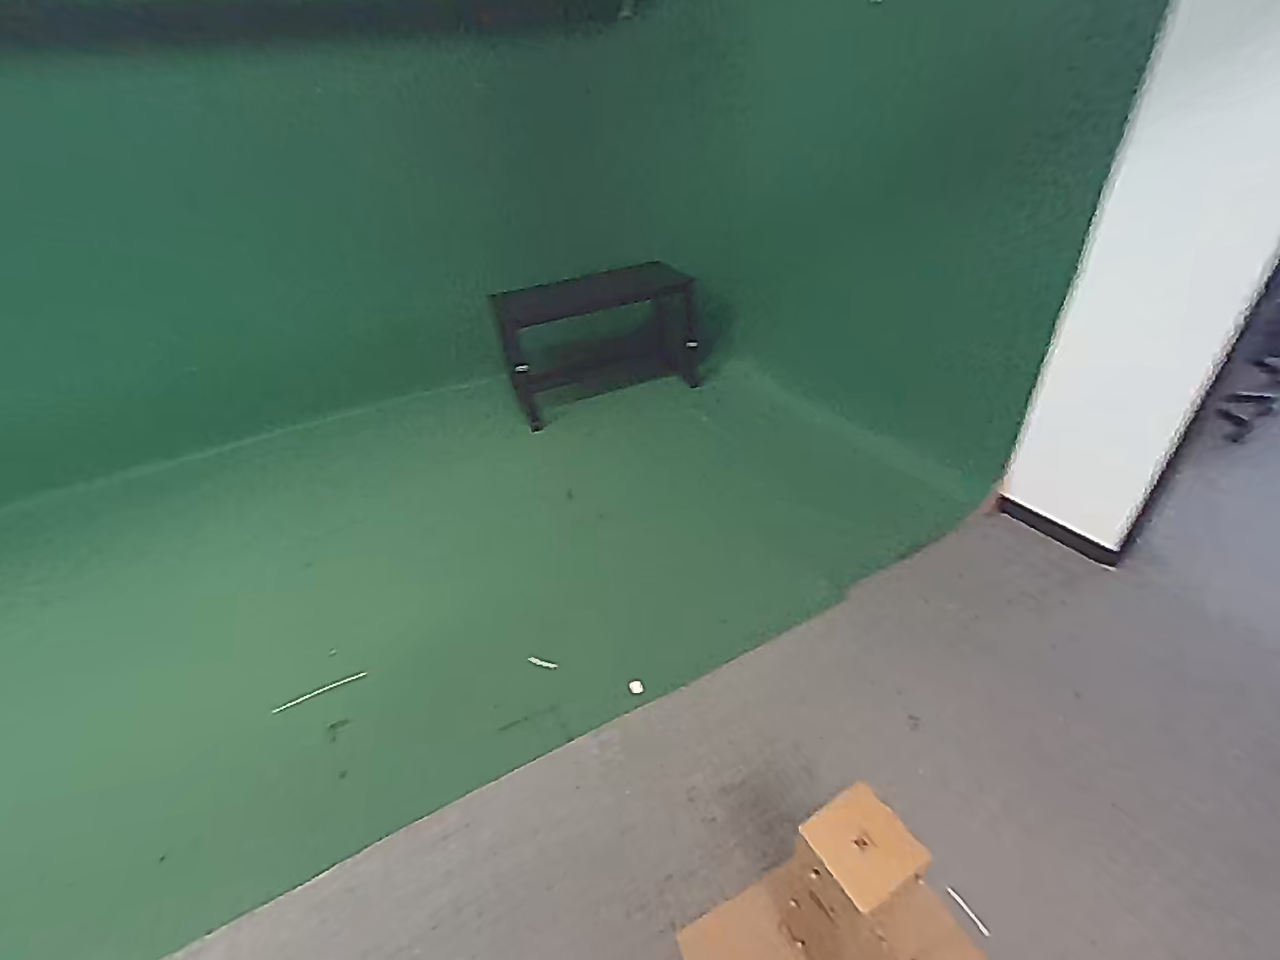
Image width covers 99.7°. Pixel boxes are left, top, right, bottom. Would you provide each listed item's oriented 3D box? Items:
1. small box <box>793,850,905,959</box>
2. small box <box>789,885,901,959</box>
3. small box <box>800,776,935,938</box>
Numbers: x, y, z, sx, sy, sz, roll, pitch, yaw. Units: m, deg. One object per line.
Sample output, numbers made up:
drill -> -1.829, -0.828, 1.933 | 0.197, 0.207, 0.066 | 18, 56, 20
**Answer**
small box -> 0.443, 0.859, 1.145 | 0.179, 0.176, 0.168 | -22, 38, -21
small box -> 0.459, 0.991, 1.238 | 0.179, 0.176, 0.168 | -25, 39, -23
small box -> 0.430, 0.729, 1.048 | 0.179, 0.176, 0.168 | -22, 37, -21
